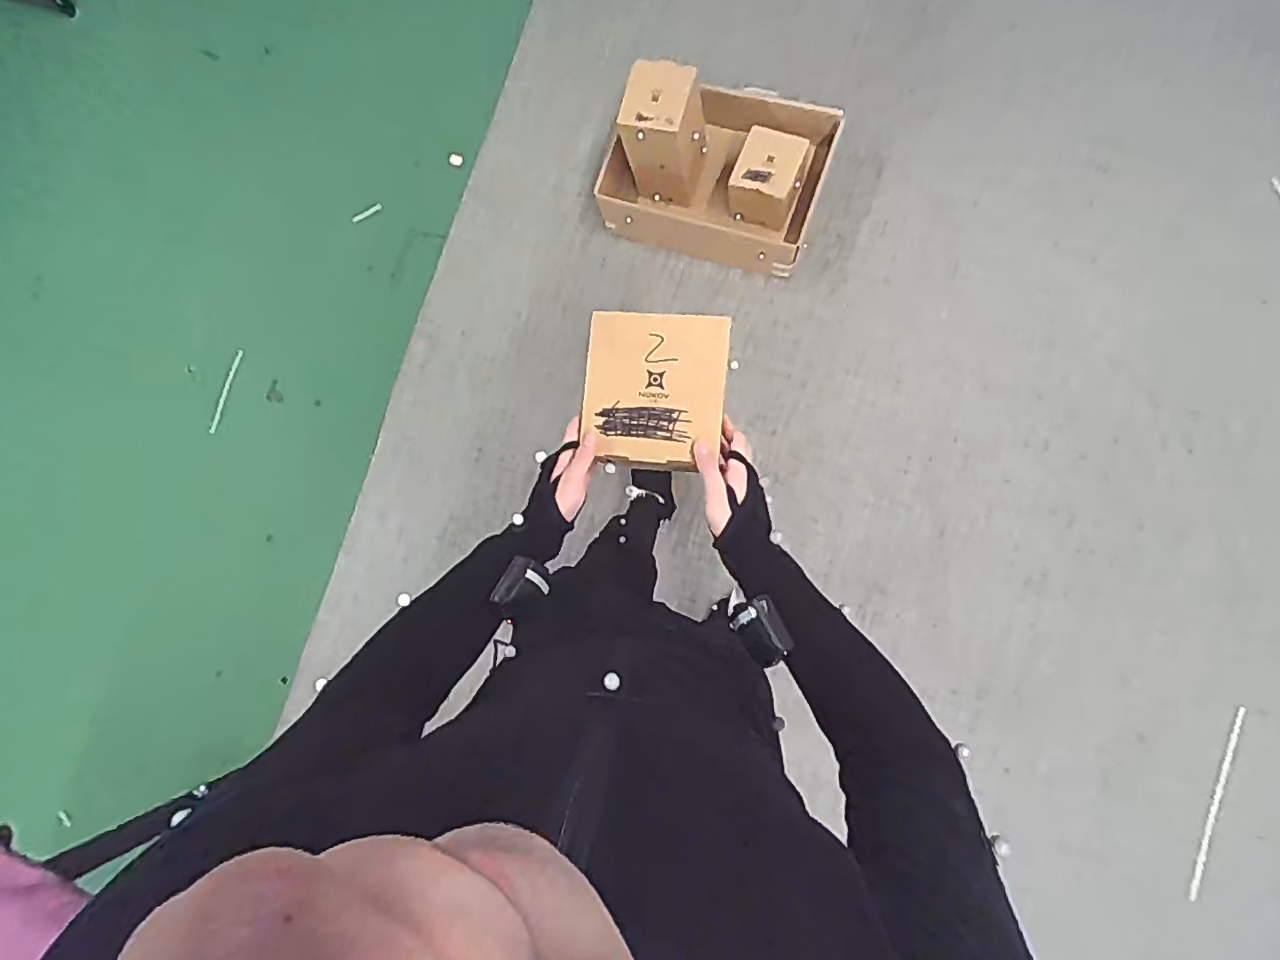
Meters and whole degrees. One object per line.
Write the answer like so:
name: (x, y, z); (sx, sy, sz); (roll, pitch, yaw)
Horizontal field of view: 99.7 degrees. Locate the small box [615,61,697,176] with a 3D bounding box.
small box: (0.050, -0.947, 1.428); (0.168, 0.176, 0.179); (17, 87, 12)
